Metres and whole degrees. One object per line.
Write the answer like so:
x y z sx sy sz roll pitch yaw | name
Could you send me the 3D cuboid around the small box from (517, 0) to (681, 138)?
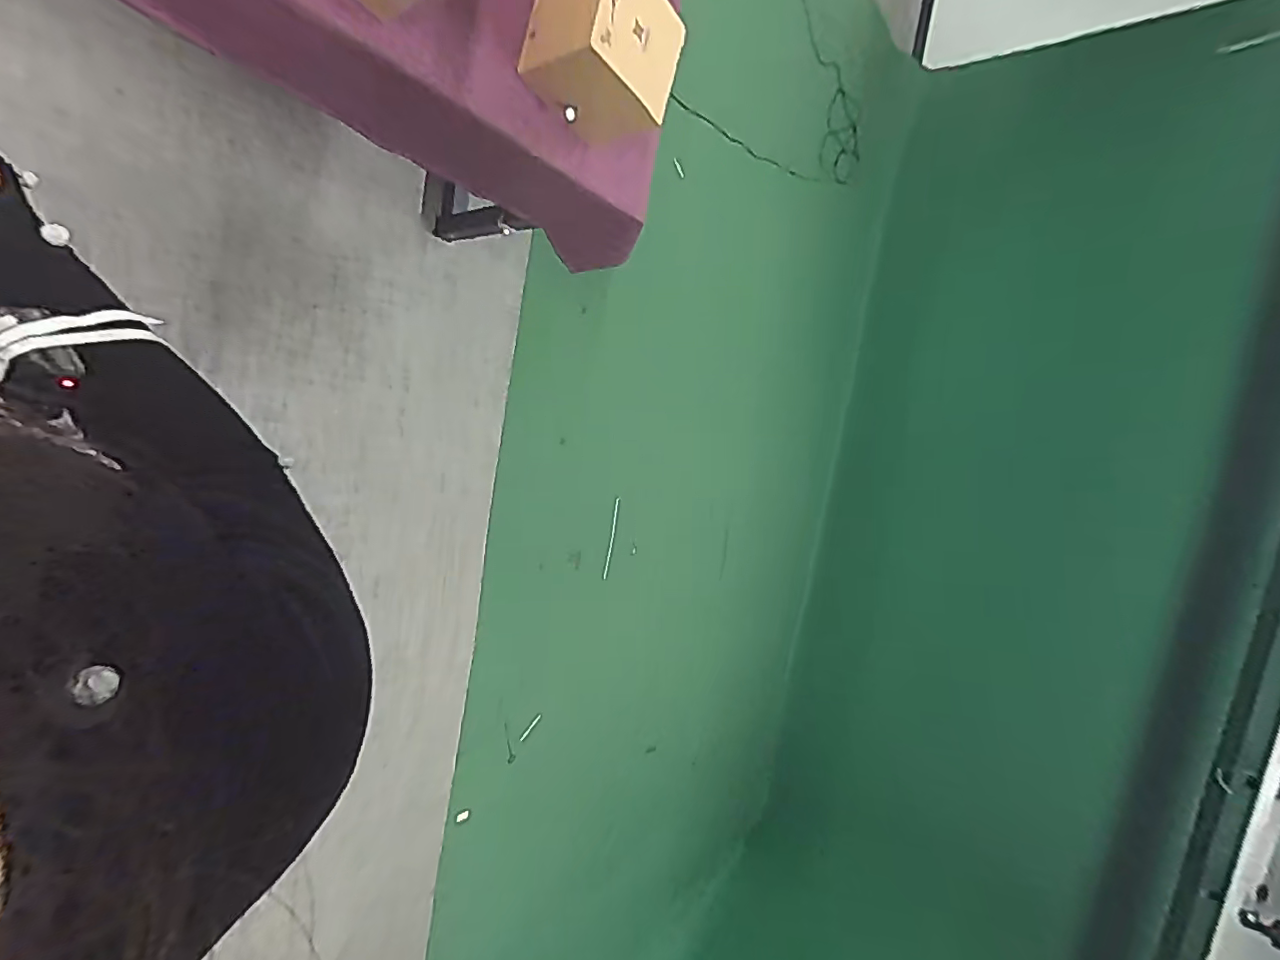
-0.065 -0.684 0.868 0.179 0.176 0.168 15 89 -52 | small box
